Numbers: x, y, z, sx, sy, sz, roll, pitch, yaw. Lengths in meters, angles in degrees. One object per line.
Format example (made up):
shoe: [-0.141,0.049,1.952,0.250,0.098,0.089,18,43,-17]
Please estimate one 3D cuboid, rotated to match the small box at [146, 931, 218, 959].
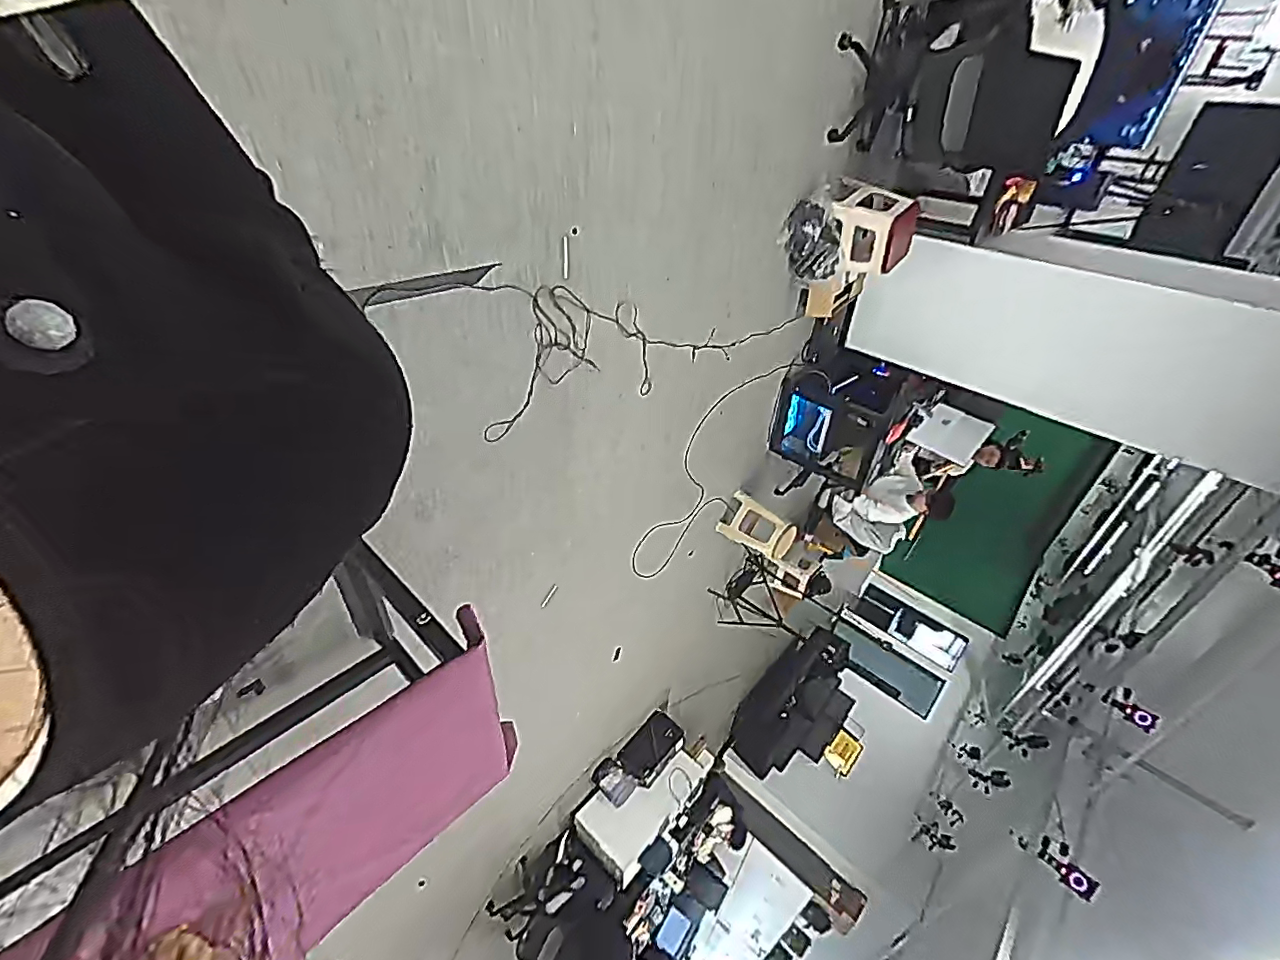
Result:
small box: [-0.828,0.941,0.930,0.179,0.176,0.168,-29,137,-38]
